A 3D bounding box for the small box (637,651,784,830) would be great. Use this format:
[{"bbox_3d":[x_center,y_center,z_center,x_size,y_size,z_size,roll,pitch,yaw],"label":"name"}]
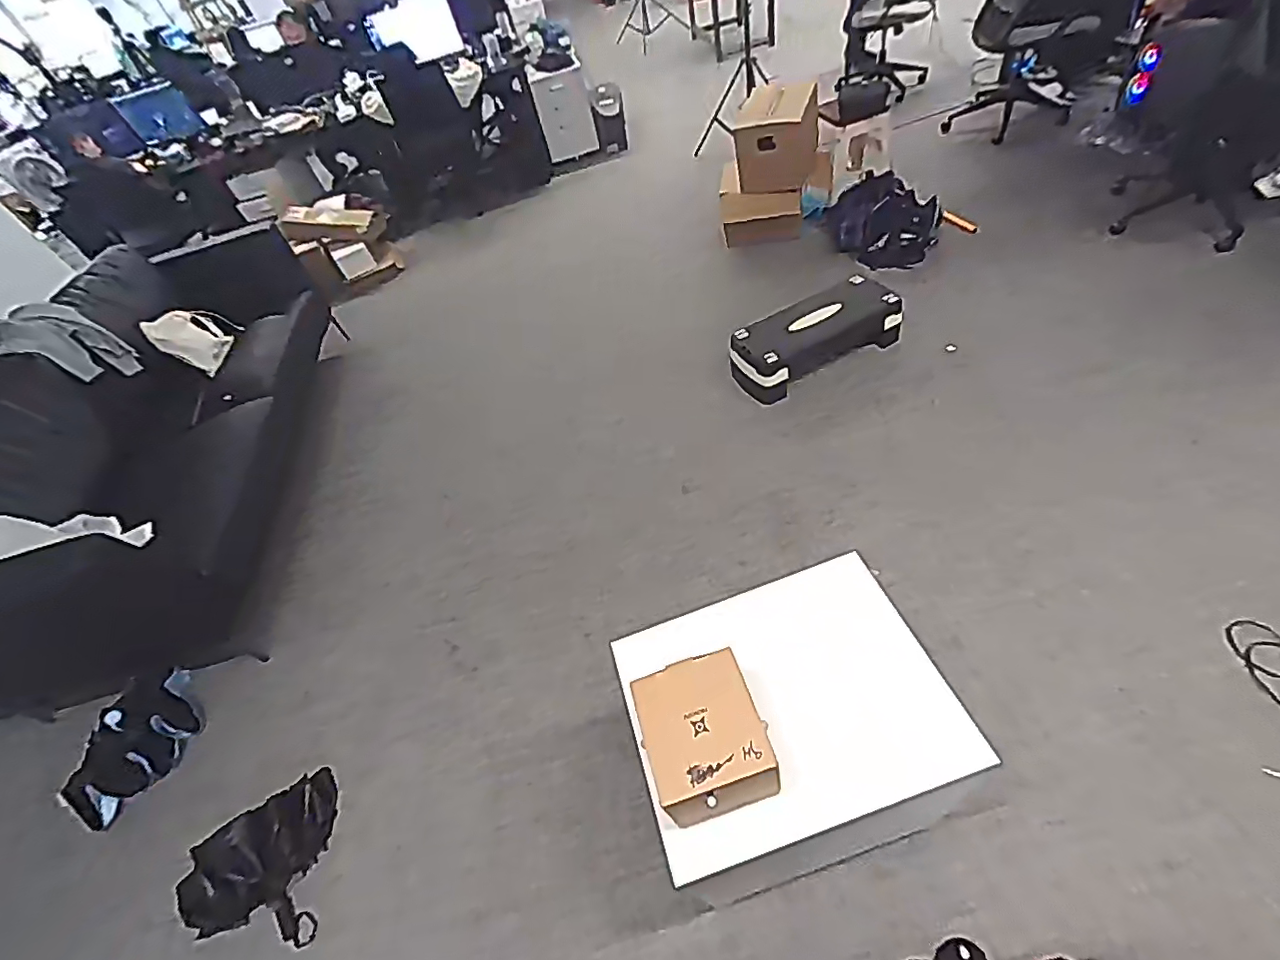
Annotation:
[{"bbox_3d":[0.106,0.394,0.817,0.168,0.176,0.179,-19,46,0],"label":"small box"}]
